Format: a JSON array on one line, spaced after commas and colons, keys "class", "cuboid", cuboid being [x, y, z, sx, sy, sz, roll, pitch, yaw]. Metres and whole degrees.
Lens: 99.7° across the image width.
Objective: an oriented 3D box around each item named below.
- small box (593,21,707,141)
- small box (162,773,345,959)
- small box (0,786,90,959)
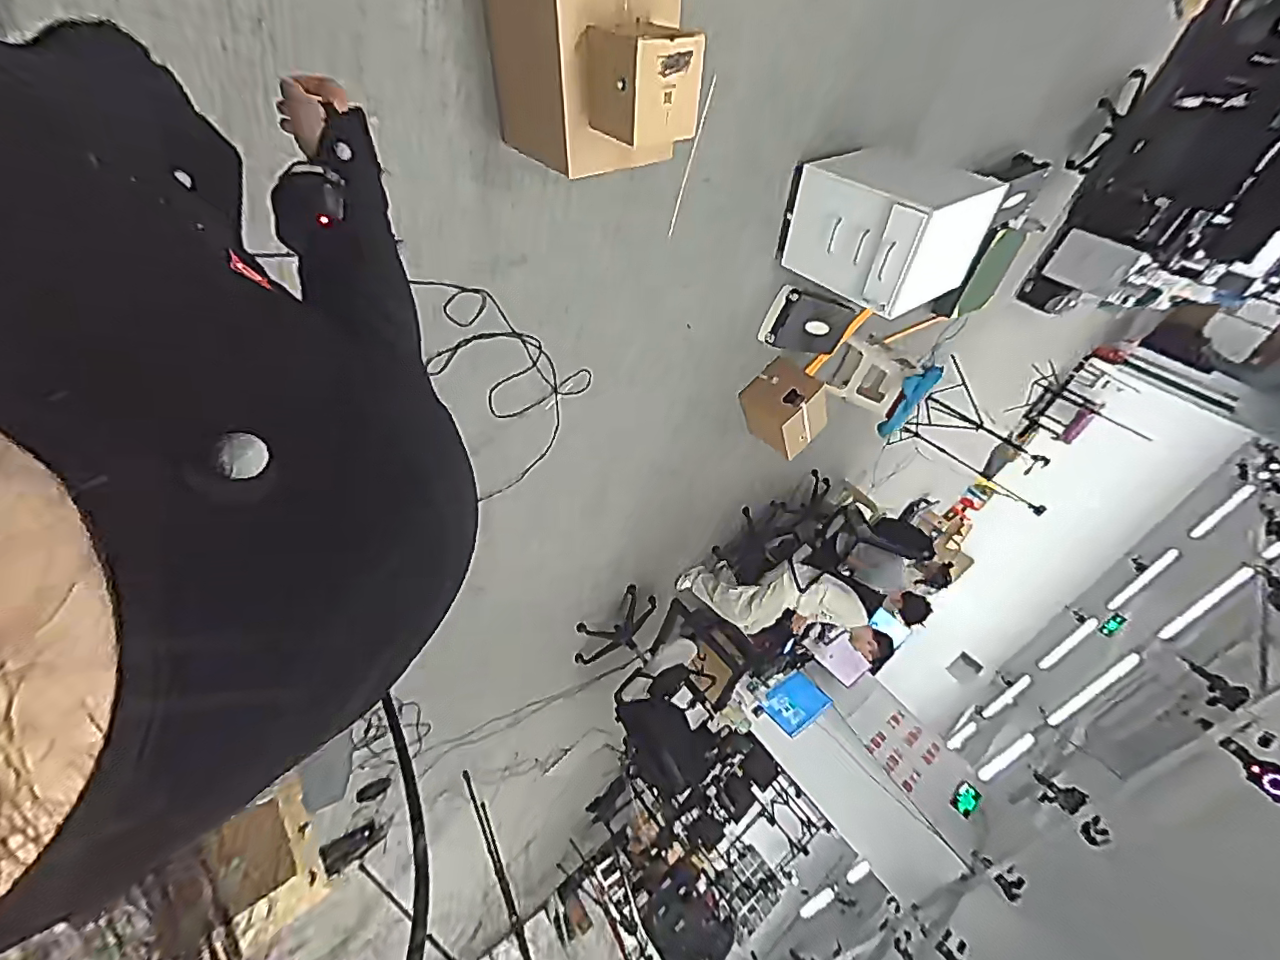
[{"class": "small box", "cuboid": [0.015, -0.825, 1.111, 0.168, 0.176, 0.179, -27, 143, -25]}, {"class": "small box", "cuboid": [-0.612, 0.613, 0.866, 0.179, 0.176, 0.168, -26, 143, -30]}, {"class": "small box", "cuboid": [-0.929, 0.589, 0.782, 0.168, 0.176, 0.179, -12, 135, -43]}]
